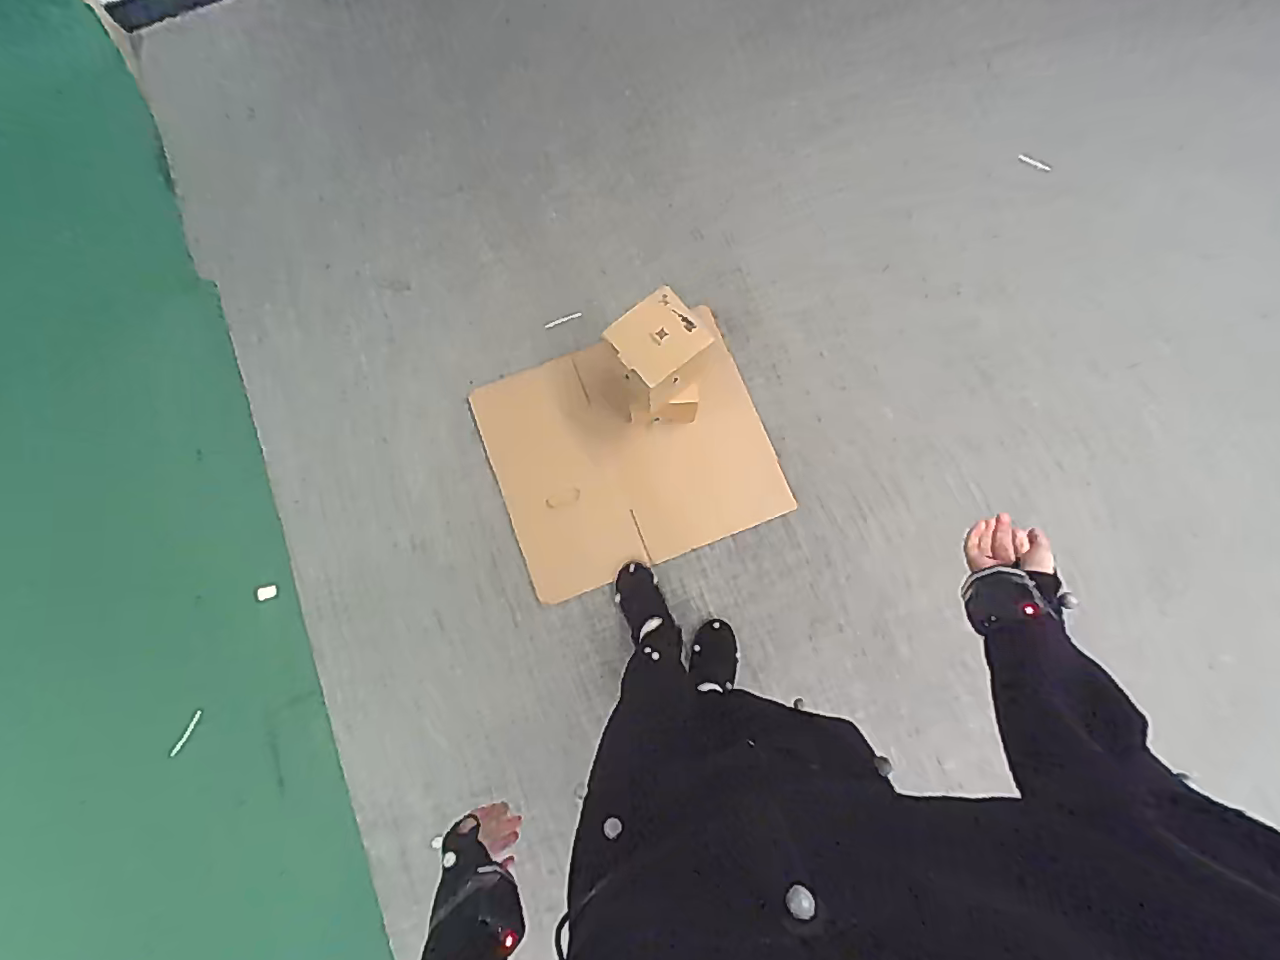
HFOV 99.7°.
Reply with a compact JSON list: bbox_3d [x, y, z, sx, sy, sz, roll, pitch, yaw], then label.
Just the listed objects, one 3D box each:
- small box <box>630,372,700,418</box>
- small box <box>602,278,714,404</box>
[{"bbox_3d":[0.058,-0.264,1.350,0.168,0.176,0.179,-2,80,1],"label":"small box"},{"bbox_3d":[0.042,-0.295,1.190,0.179,0.176,0.168,-38,81,-4],"label":"small box"}]
